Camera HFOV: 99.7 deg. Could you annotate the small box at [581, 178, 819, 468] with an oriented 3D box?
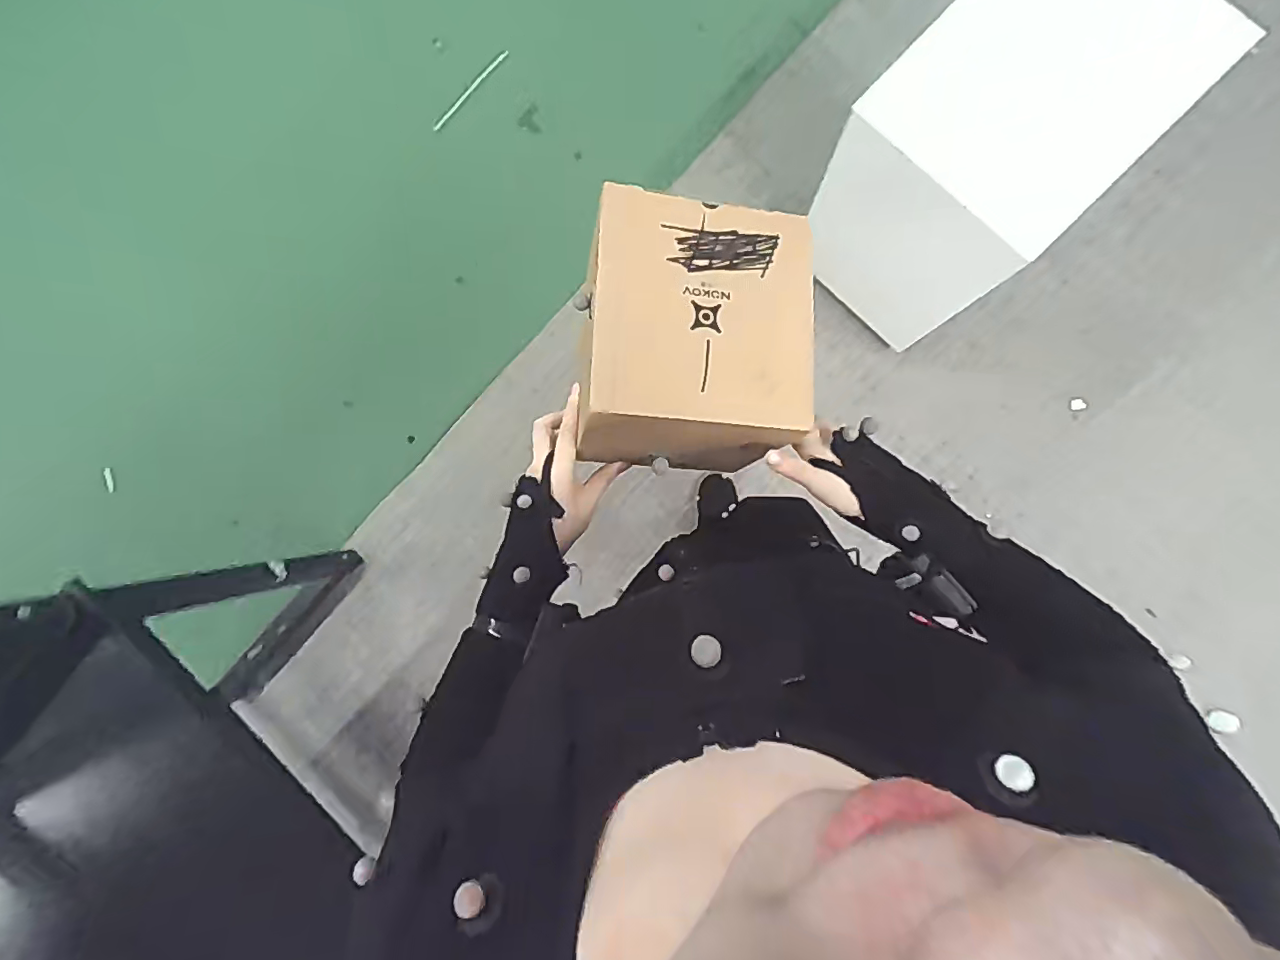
[{"bbox_3d":[0.039,-0.117,0.473,0.168,0.176,0.179,5,80,-9],"label":"small box"}]
